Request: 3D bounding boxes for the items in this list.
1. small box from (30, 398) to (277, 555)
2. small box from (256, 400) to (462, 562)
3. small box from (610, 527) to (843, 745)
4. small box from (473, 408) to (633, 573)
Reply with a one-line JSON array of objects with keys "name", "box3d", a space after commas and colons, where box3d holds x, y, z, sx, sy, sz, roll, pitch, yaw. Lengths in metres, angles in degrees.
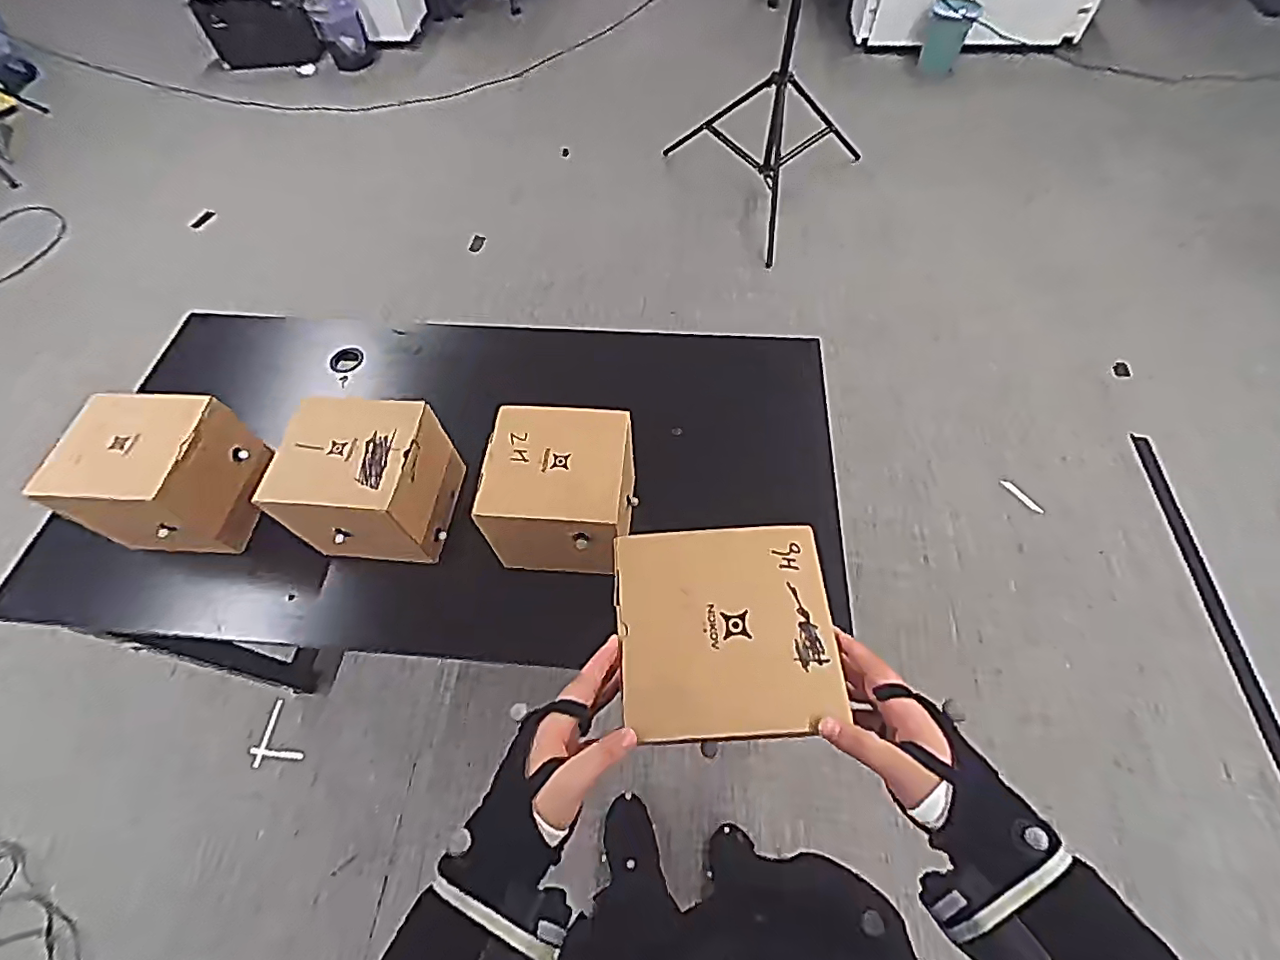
[{"name": "small box", "box3d": [-0.667, 0.001, 0.776, 0.179, 0.176, 0.168, 1, 59, 3]}, {"name": "small box", "box3d": [-0.373, 0.007, 0.760, 0.179, 0.176, 0.168, 3, 60, 5]}, {"name": "small box", "box3d": [0.068, 0.156, 0.514, 0.179, 0.176, 0.168, -3, 63, 0]}, {"name": "small box", "box3d": [-0.103, 0.021, 0.741, 0.179, 0.176, 0.168, 3, 59, 4]}]
